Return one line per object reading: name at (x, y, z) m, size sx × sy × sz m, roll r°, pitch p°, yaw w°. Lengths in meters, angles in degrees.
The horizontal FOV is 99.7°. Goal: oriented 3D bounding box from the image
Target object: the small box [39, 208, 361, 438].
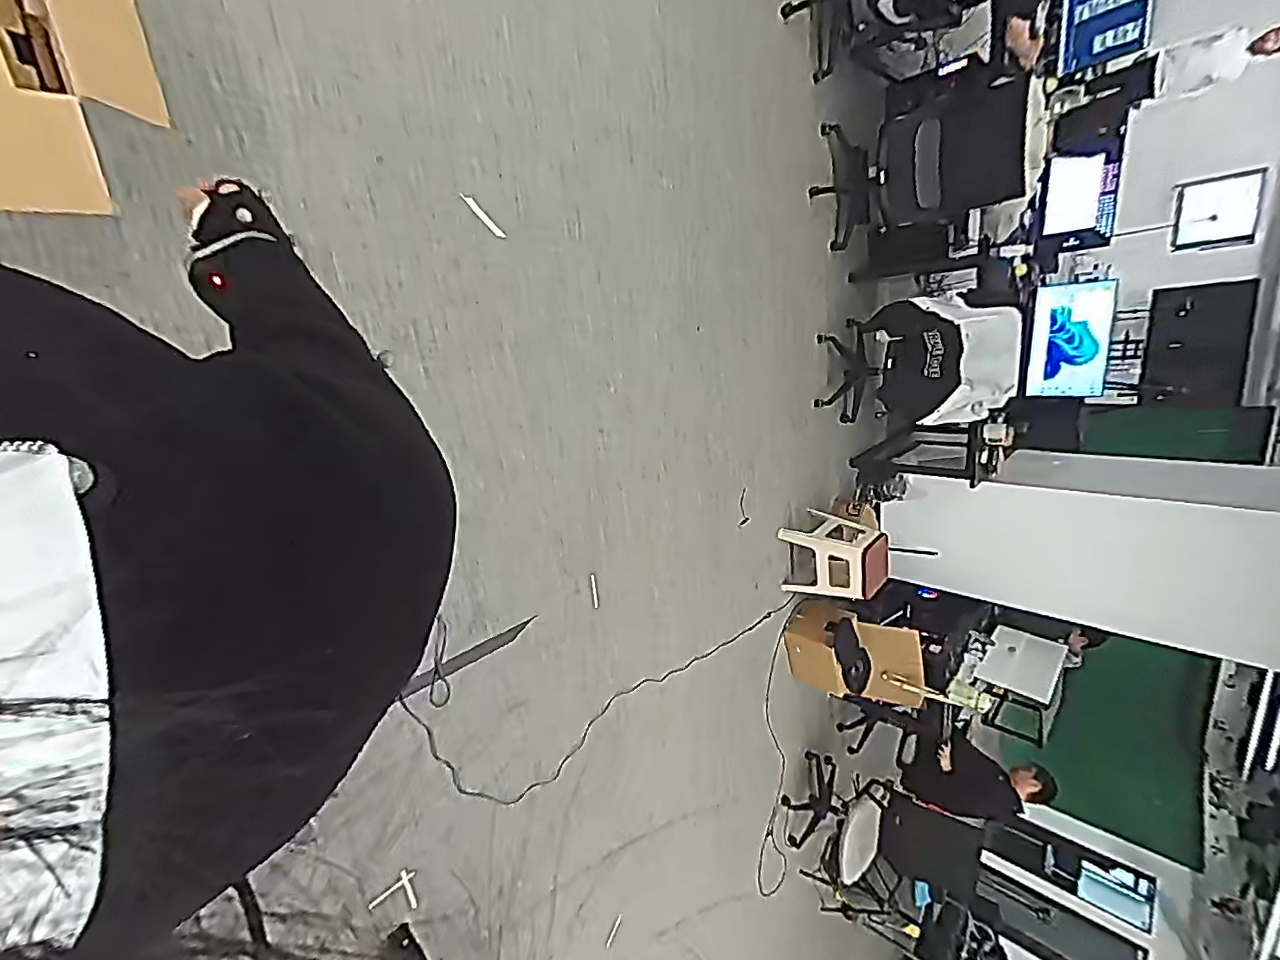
small box at (-0.372, -0.143, 0.491) m, size 0.179 × 0.176 × 0.168 m, roll -17°, pitch 113°, yaw -32°
